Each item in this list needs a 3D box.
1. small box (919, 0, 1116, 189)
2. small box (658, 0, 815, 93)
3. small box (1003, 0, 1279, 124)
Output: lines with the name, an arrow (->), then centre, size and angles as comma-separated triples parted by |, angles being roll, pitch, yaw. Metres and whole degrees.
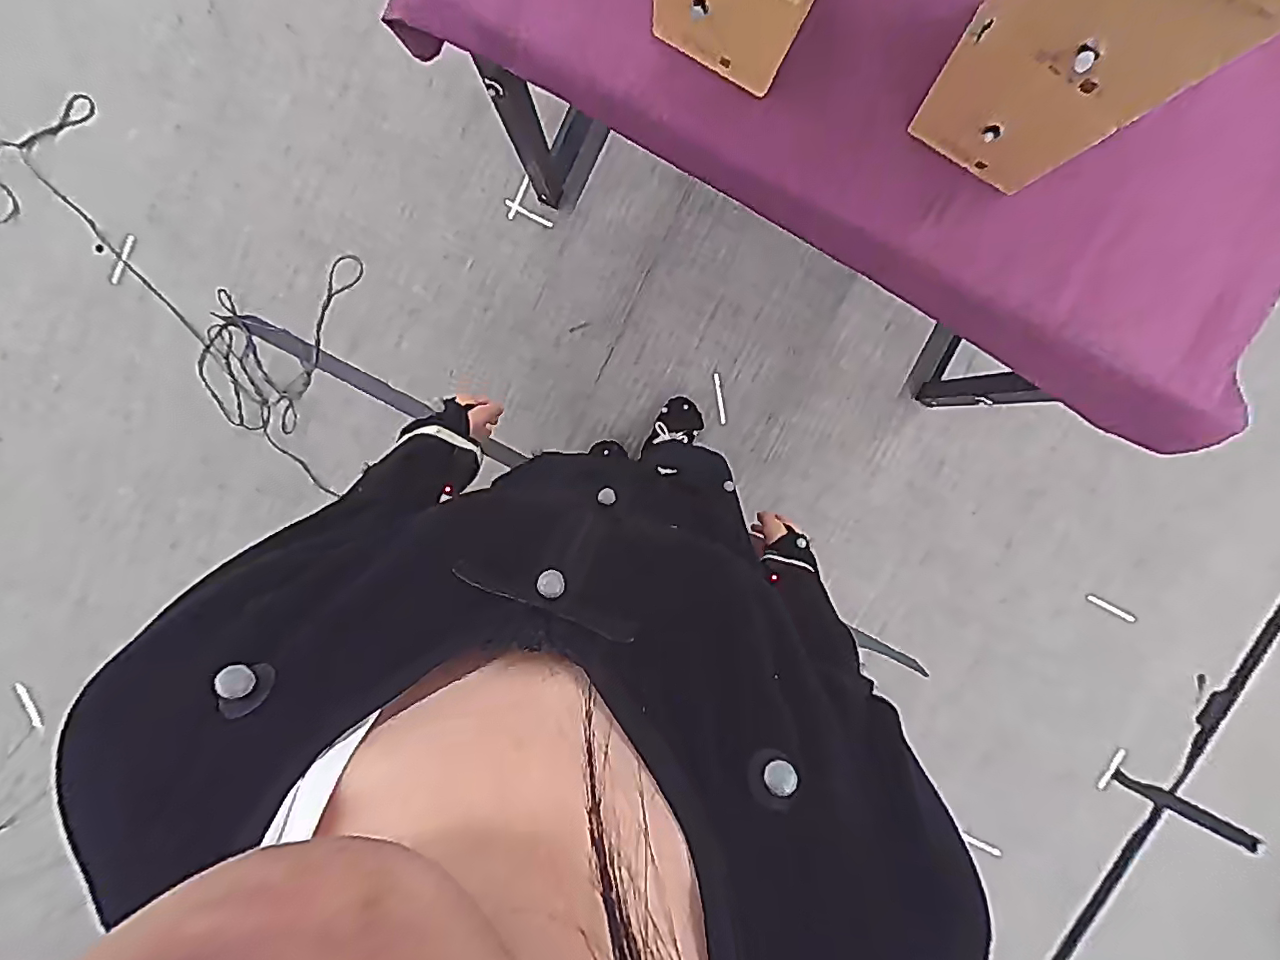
small box -> 0.464, -0.483, 0.630 | 0.168, 0.176, 0.179 | 30, 95, -4
small box -> 0.129, -0.601, 0.617 | 0.168, 0.176, 0.179 | 28, 94, -3
small box -> 0.469, -0.467, 0.467 | 0.168, 0.176, 0.179 | 30, 96, -3
